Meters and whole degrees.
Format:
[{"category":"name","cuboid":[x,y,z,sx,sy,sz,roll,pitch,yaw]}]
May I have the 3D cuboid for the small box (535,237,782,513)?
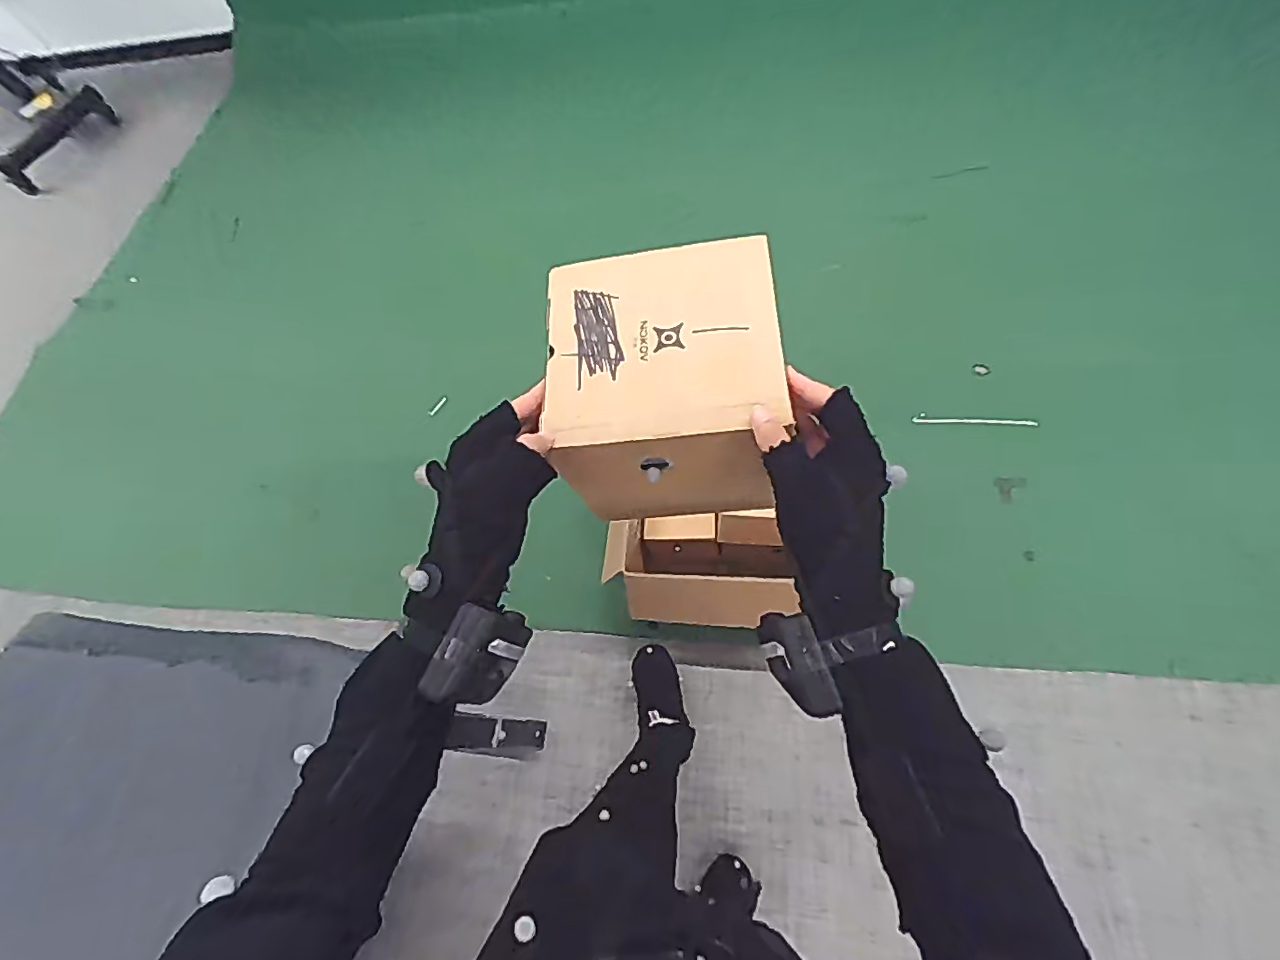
[{"category":"small box","cuboid":[0.024,-0.075,0.473,0.179,0.176,0.168,-5,67,9]}]
